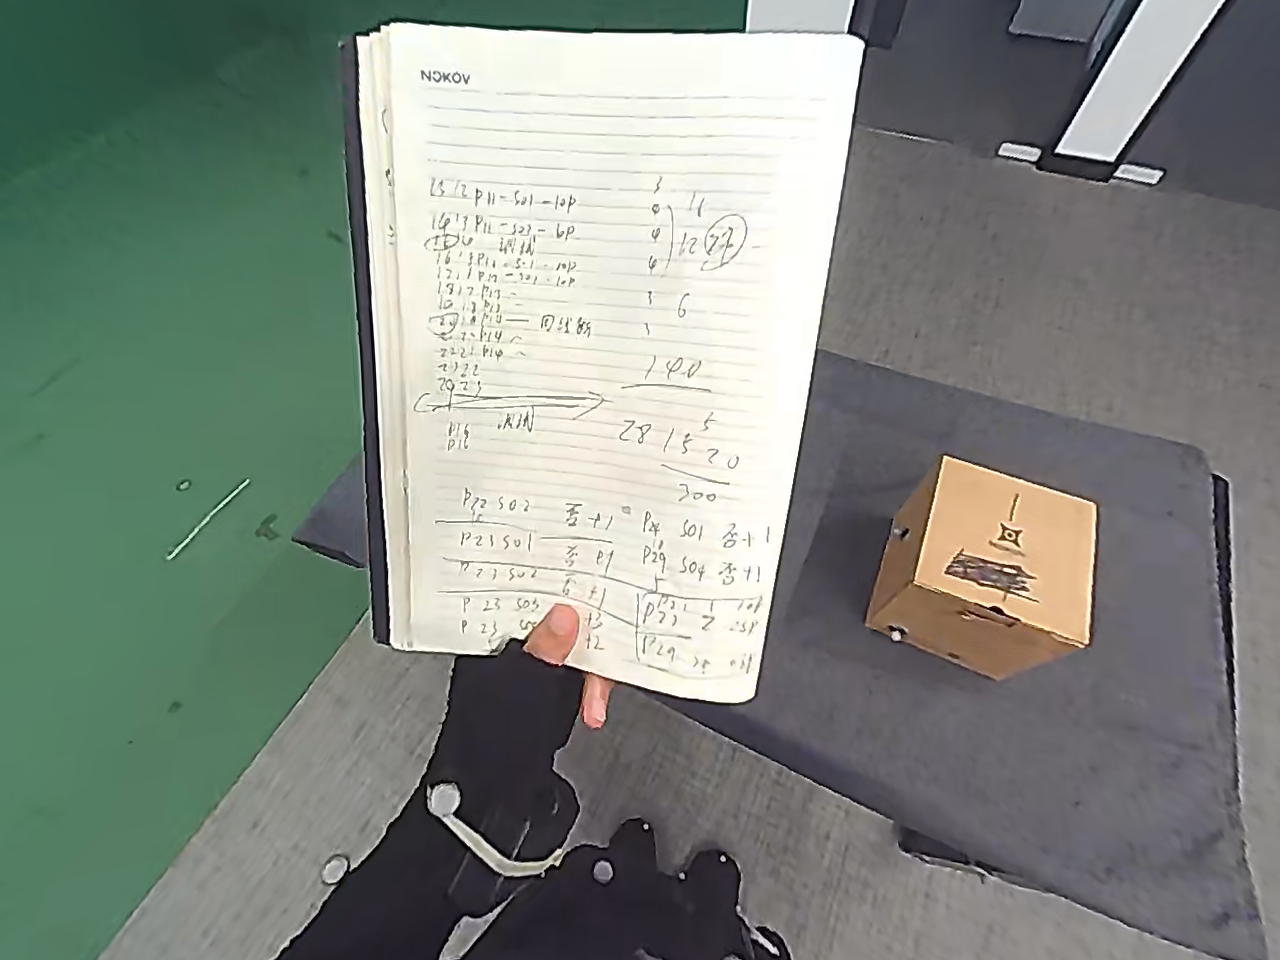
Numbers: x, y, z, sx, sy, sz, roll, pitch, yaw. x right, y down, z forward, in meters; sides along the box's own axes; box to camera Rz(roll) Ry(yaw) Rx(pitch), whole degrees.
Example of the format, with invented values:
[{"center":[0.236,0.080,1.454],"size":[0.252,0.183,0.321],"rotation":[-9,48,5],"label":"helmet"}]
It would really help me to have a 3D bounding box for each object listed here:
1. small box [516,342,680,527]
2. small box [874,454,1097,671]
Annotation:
[{"center":[-0.050,-0.061,0.776],"size":[0.168,0.176,0.179],"rotation":[18,62,14],"label":"small box"},{"center":[0.401,0.105,0.651],"size":[0.168,0.176,0.179],"rotation":[21,62,15],"label":"small box"}]
